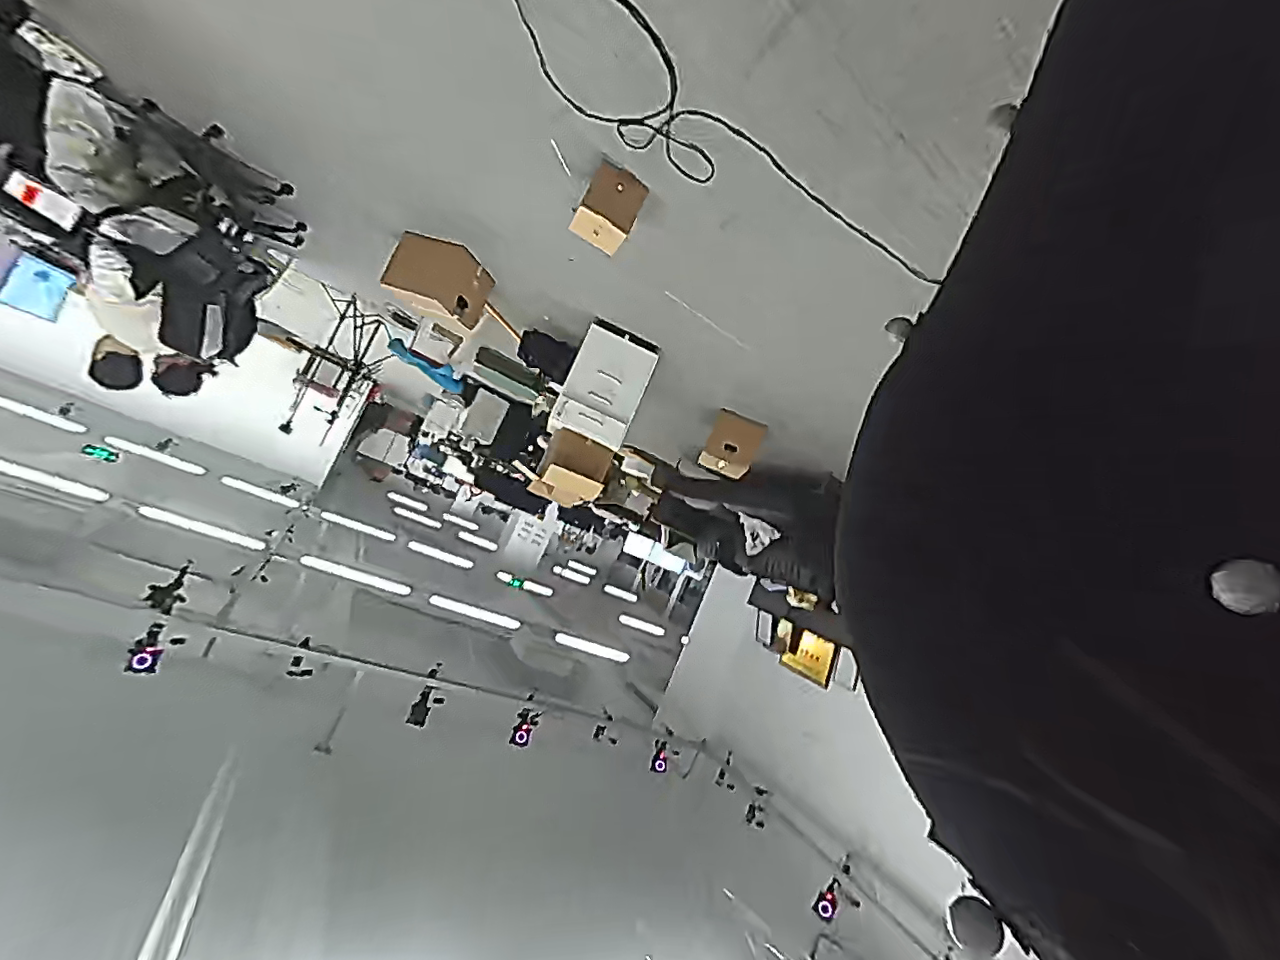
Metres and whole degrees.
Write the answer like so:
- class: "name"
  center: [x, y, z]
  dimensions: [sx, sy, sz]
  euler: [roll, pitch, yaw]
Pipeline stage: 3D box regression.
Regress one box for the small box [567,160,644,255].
- class: "small box"
  center: [-0.107, -0.853, 1.702]
  dimensions: [0.168, 0.176, 0.179]
  euler: [25, 173, -19]
